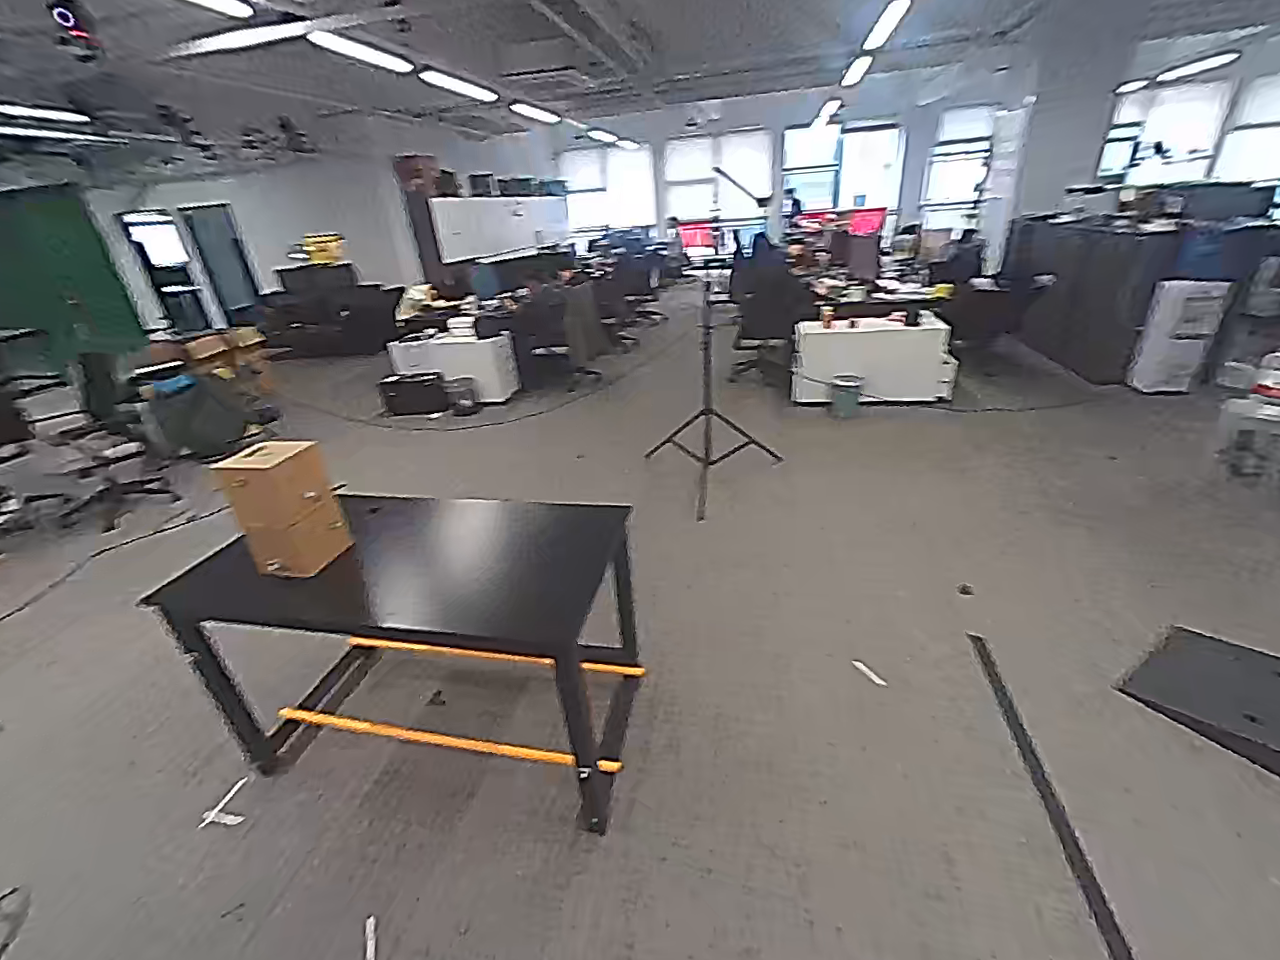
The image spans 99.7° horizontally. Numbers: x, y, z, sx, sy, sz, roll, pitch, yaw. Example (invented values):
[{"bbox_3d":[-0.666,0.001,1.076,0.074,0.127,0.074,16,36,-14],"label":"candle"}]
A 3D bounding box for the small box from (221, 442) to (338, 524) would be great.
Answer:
[{"bbox_3d":[-0.961,0.006,1.455,0.179,0.176,0.168,1,27,12],"label":"small box"}]

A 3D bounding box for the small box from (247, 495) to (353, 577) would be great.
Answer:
[{"bbox_3d":[-0.948,0.152,1.531,0.168,0.176,0.179,1,28,13],"label":"small box"}]
